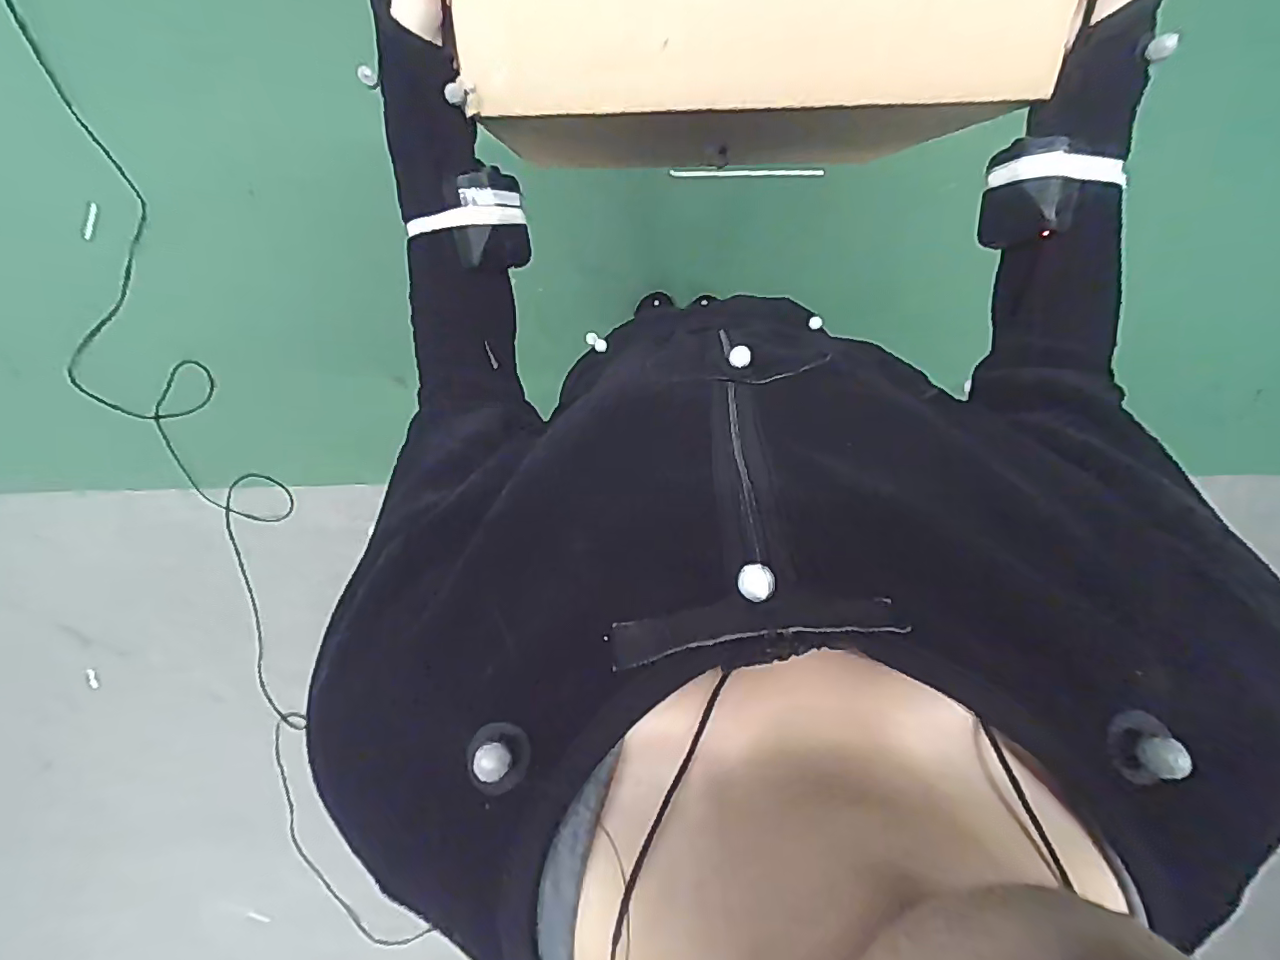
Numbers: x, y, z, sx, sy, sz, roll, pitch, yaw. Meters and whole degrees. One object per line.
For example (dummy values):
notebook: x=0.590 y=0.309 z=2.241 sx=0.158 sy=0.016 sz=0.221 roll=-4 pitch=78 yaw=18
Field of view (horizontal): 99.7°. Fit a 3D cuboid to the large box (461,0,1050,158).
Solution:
large box: x=0.075 y=-0.472 z=0.457 sx=0.408 sy=0.320 sz=0.320 roll=-2 pitch=114 yaw=1
